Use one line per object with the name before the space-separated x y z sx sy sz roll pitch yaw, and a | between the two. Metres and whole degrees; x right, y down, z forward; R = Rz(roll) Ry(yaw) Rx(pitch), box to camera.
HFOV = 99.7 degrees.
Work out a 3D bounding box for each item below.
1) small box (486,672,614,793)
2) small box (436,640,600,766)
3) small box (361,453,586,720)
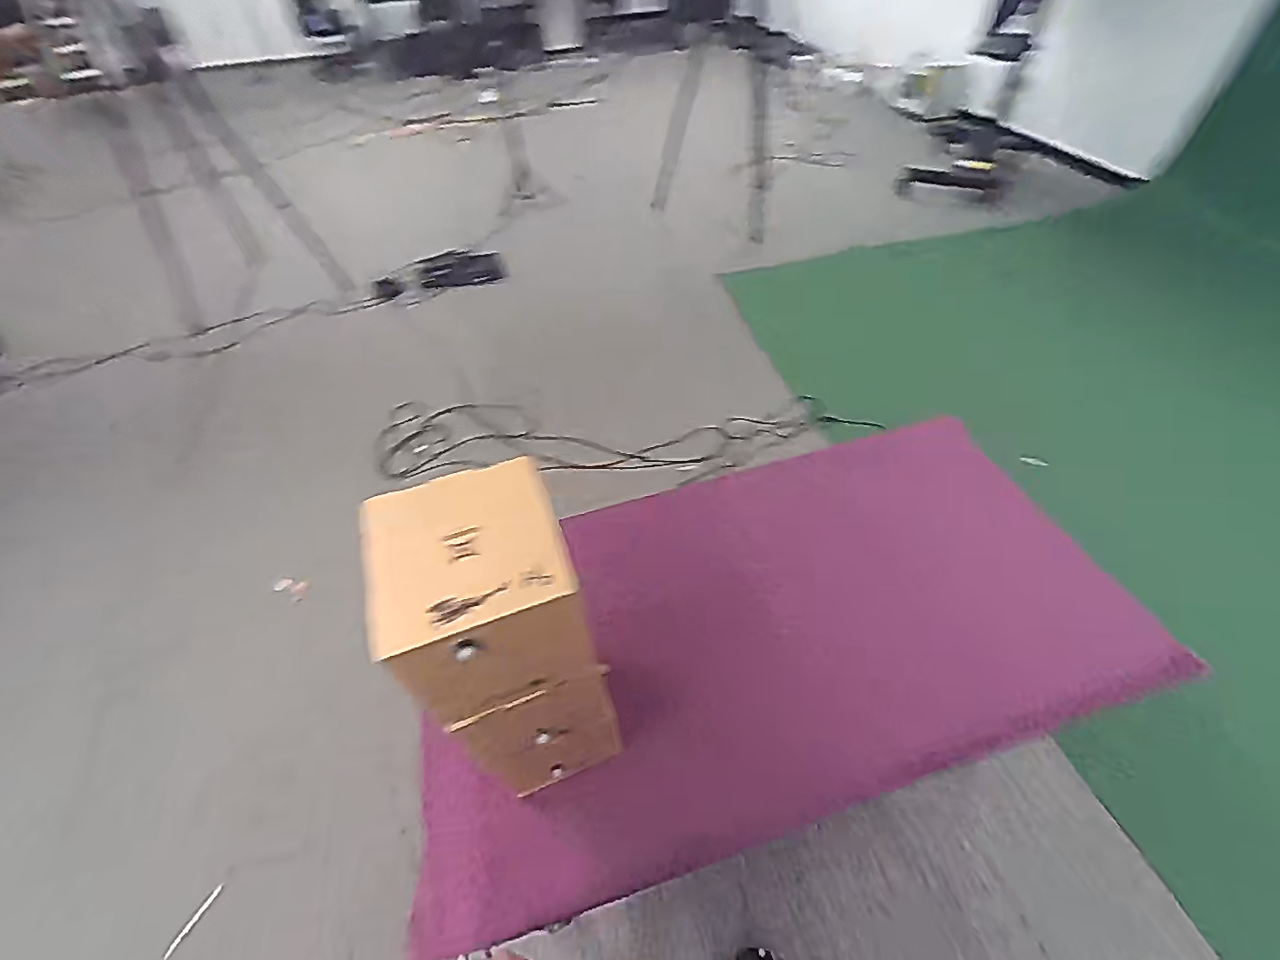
small box | -0.146 0.323 0.793 0.168 0.176 0.179 -19 51 -14
small box | -0.157 0.217 0.668 0.168 0.176 0.179 -20 51 -14
small box | -0.162 0.107 0.546 0.168 0.176 0.179 -18 50 -13
